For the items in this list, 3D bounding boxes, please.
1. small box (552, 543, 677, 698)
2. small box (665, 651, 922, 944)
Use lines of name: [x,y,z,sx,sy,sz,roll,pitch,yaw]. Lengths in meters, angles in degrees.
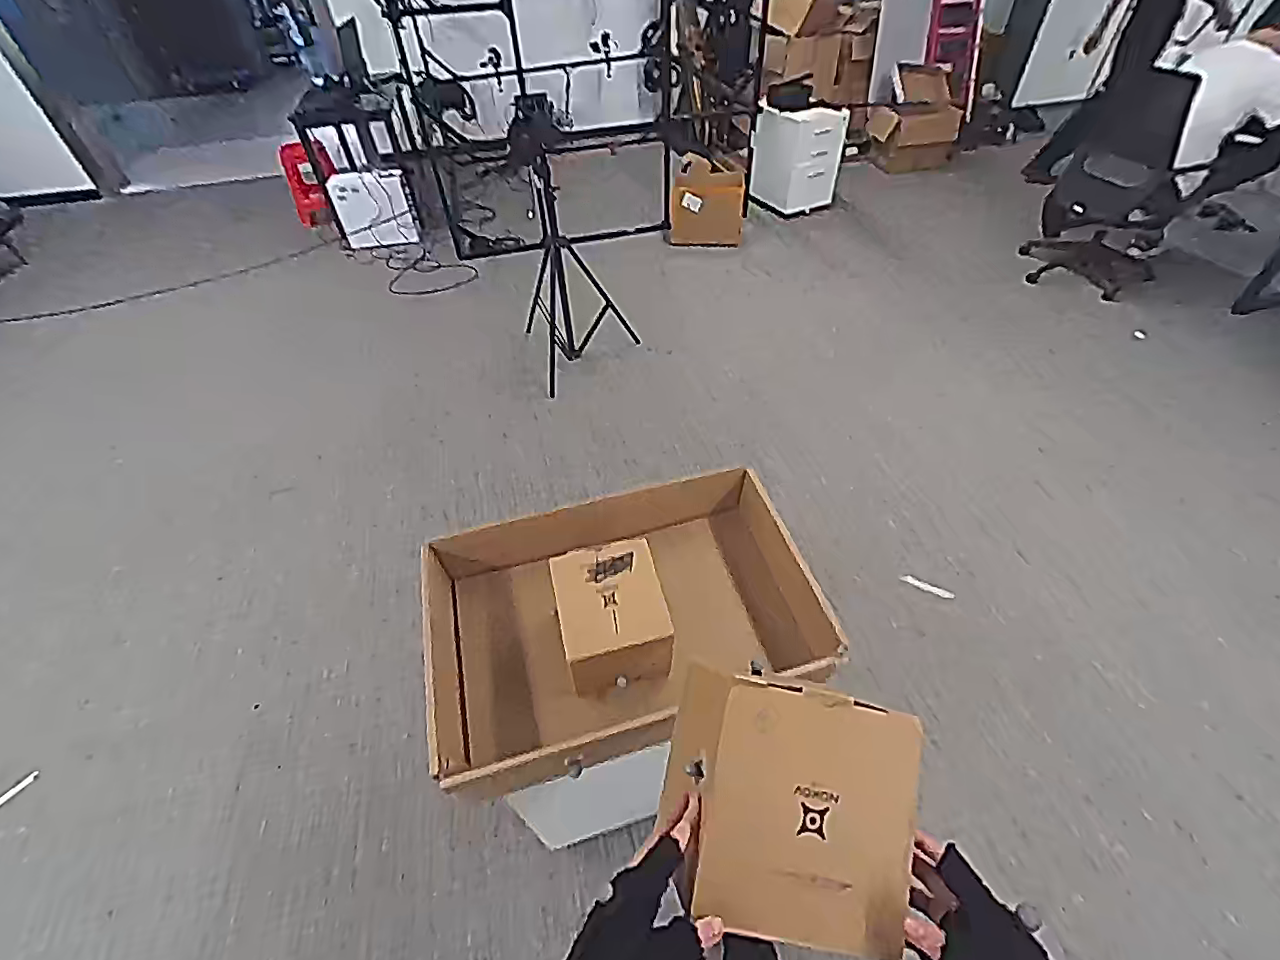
small box: [-0.045,0.235,0.898,0.168,0.176,0.179,-12,52,-9]
small box: [0.125,0.262,0.493,0.168,0.176,0.179,13,76,-4]
